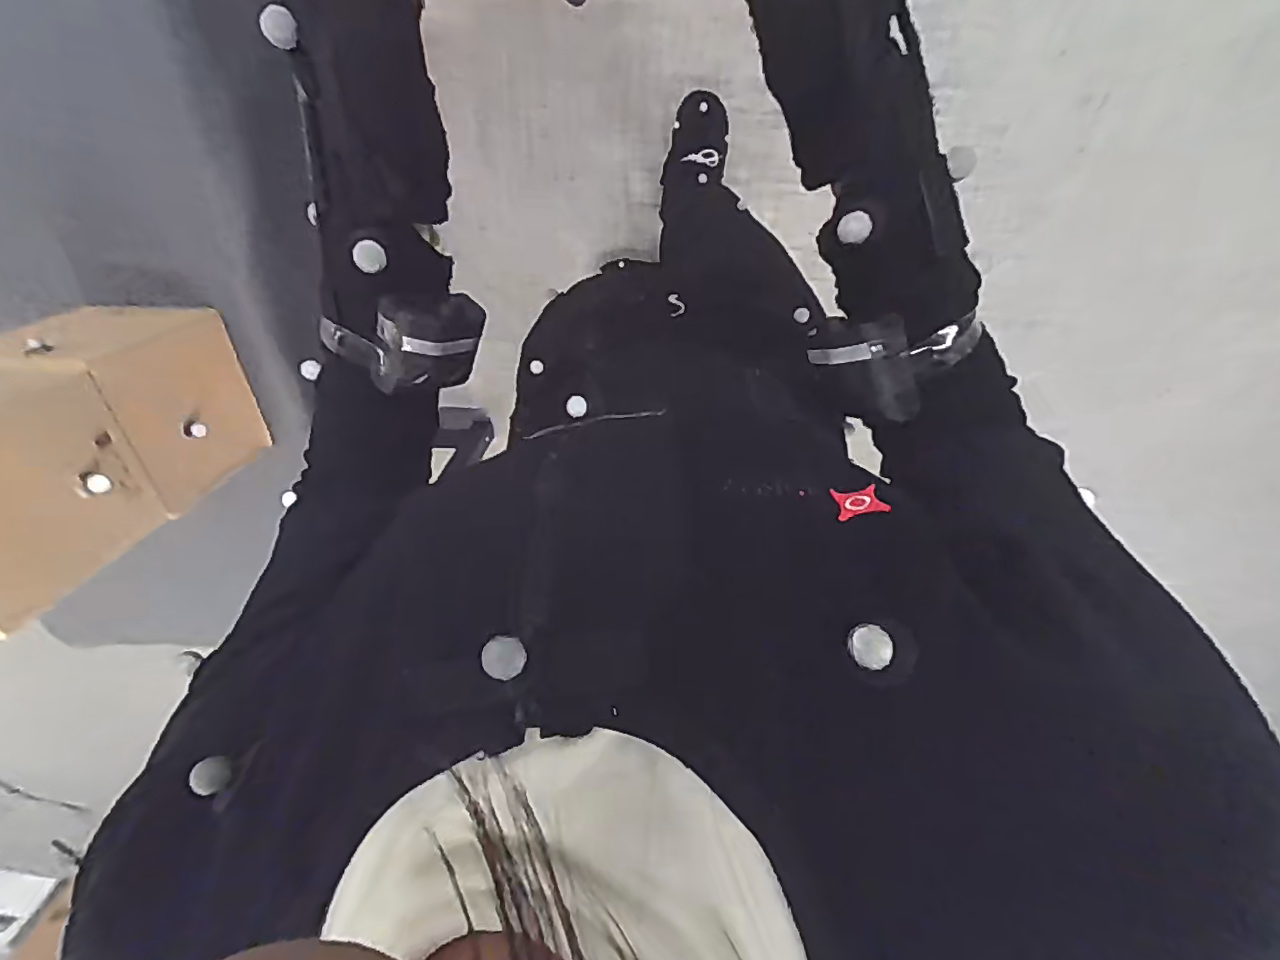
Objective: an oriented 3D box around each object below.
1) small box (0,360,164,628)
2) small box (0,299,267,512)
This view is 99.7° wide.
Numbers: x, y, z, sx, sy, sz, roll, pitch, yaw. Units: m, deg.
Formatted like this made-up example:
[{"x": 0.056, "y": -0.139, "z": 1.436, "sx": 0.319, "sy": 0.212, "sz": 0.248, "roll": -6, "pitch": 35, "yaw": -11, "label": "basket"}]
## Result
[{"x": -0.581, "y": 0.003, "z": 0.460, "sx": 0.179, "sy": 0.176, "sz": 0.168, "roll": 3, "pitch": 123, "yaw": 3, "label": "small box"}, {"x": -0.564, "y": -0.086, "z": 0.598, "sx": 0.168, "sy": 0.176, "sz": 0.179, "roll": 3, "pitch": 124, "yaw": 4, "label": "small box"}]
